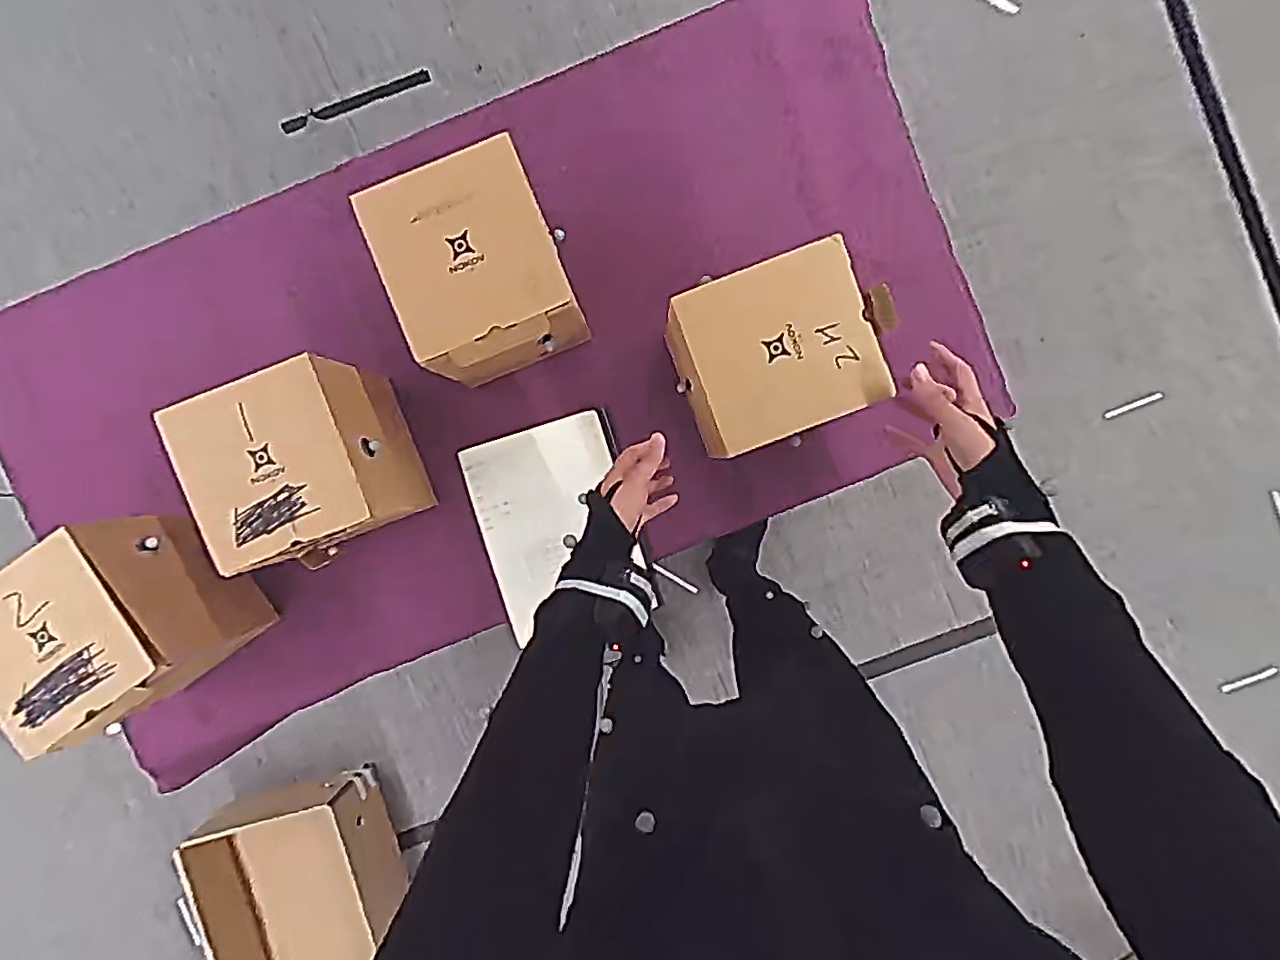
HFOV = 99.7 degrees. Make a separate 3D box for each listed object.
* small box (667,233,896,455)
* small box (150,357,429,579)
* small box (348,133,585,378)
[{"bbox_3d":[0.136,-0.129,0.588,0.179,0.176,0.168,-20,92,1],"label":"small box"},{"bbox_3d":[-0.365,-0.014,0.600,0.168,0.176,0.179,-21,91,1],"label":"small box"},{"bbox_3d":[-0.169,-0.221,0.590,0.168,0.176,0.179,-22,92,1],"label":"small box"}]
